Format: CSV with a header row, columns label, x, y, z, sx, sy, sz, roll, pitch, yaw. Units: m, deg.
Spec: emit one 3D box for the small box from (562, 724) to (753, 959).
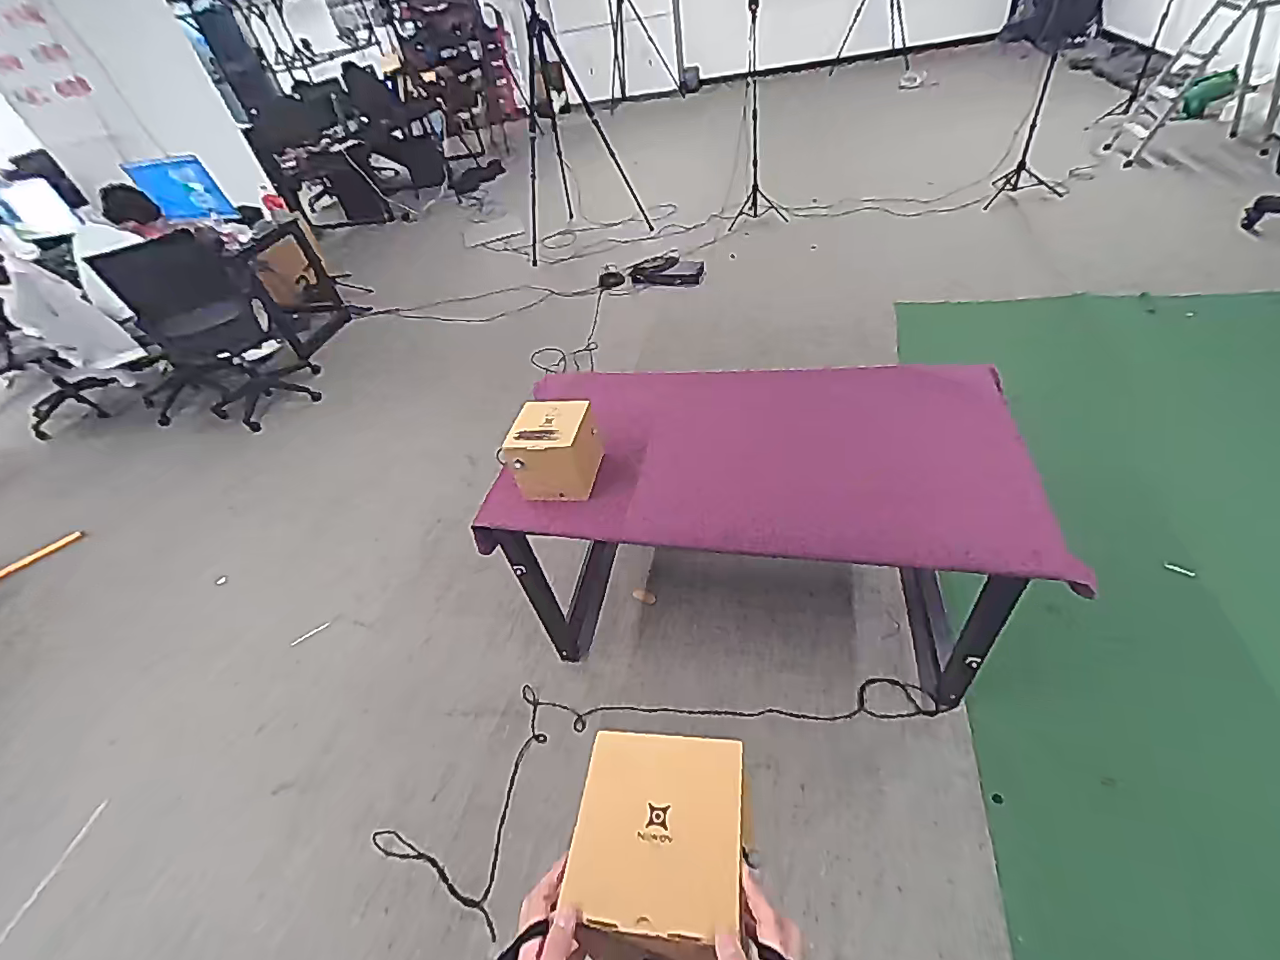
label,x,y,z,sx,sy,sz,roll,pitch,yaw
small box,0.033,0.395,0.583,0.168,0.176,0.179,-2,39,13
